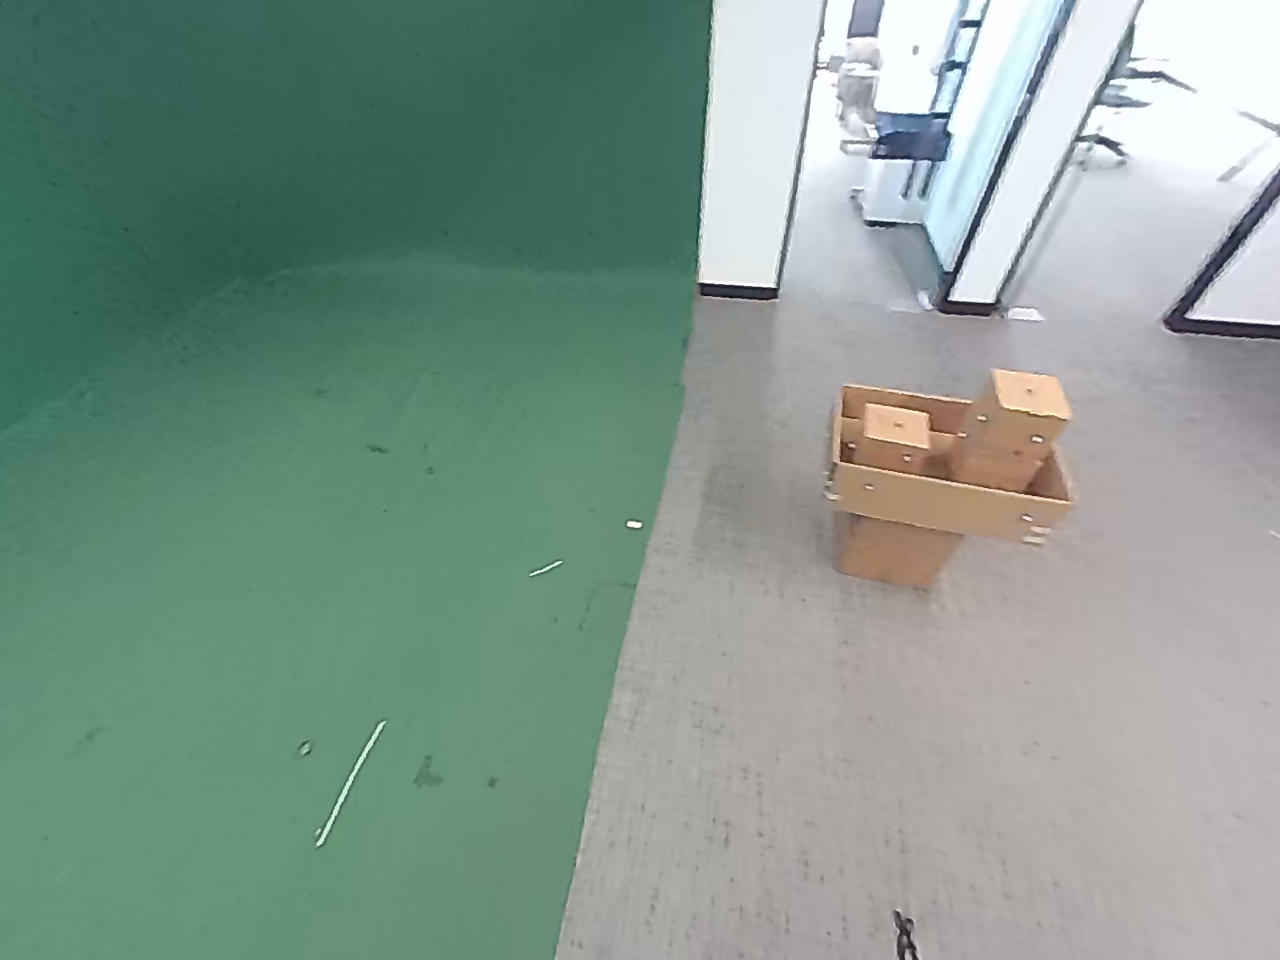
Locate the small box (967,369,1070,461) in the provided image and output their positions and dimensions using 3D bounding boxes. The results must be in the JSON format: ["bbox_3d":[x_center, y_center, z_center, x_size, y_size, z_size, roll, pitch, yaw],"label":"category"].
[{"bbox_3d":[1.021,-0.175,1.475,0.168,0.176,0.179,12,48,11],"label":"small box"}]
